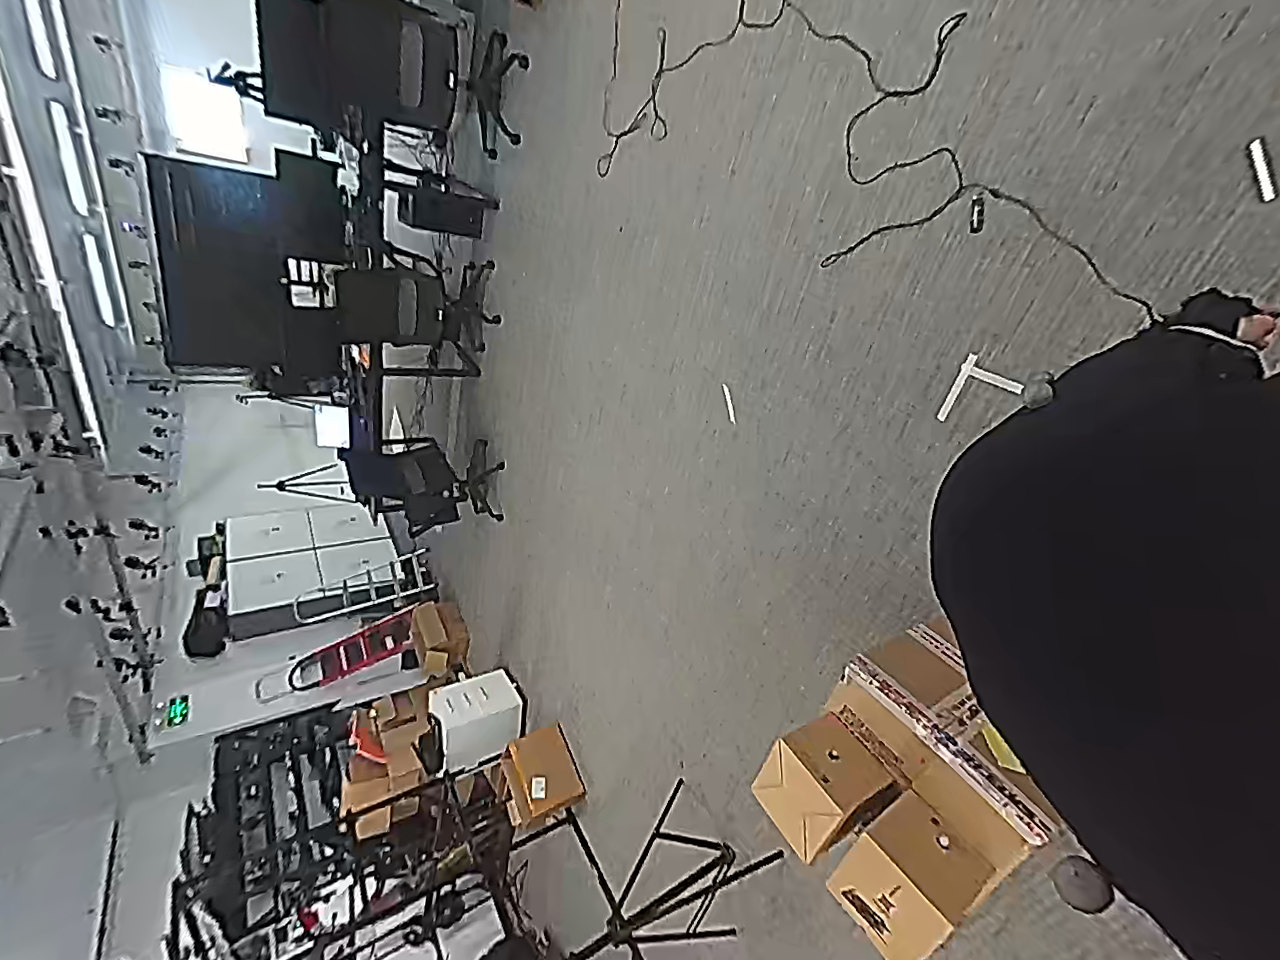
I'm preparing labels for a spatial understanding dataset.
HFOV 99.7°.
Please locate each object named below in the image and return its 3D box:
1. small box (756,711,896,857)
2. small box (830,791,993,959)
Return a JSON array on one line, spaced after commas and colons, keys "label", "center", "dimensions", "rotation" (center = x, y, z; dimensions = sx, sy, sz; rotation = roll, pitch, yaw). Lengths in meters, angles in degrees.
[{"label": "small box", "center": [0.366, 0.609, 1.086], "dimensions": [0.168, 0.176, 0.179], "rotation": [46, 129, 45]}, {"label": "small box", "center": [0.476, 0.697, 0.950], "dimensions": [0.168, 0.176, 0.179], "rotation": [41, 126, 41]}]
